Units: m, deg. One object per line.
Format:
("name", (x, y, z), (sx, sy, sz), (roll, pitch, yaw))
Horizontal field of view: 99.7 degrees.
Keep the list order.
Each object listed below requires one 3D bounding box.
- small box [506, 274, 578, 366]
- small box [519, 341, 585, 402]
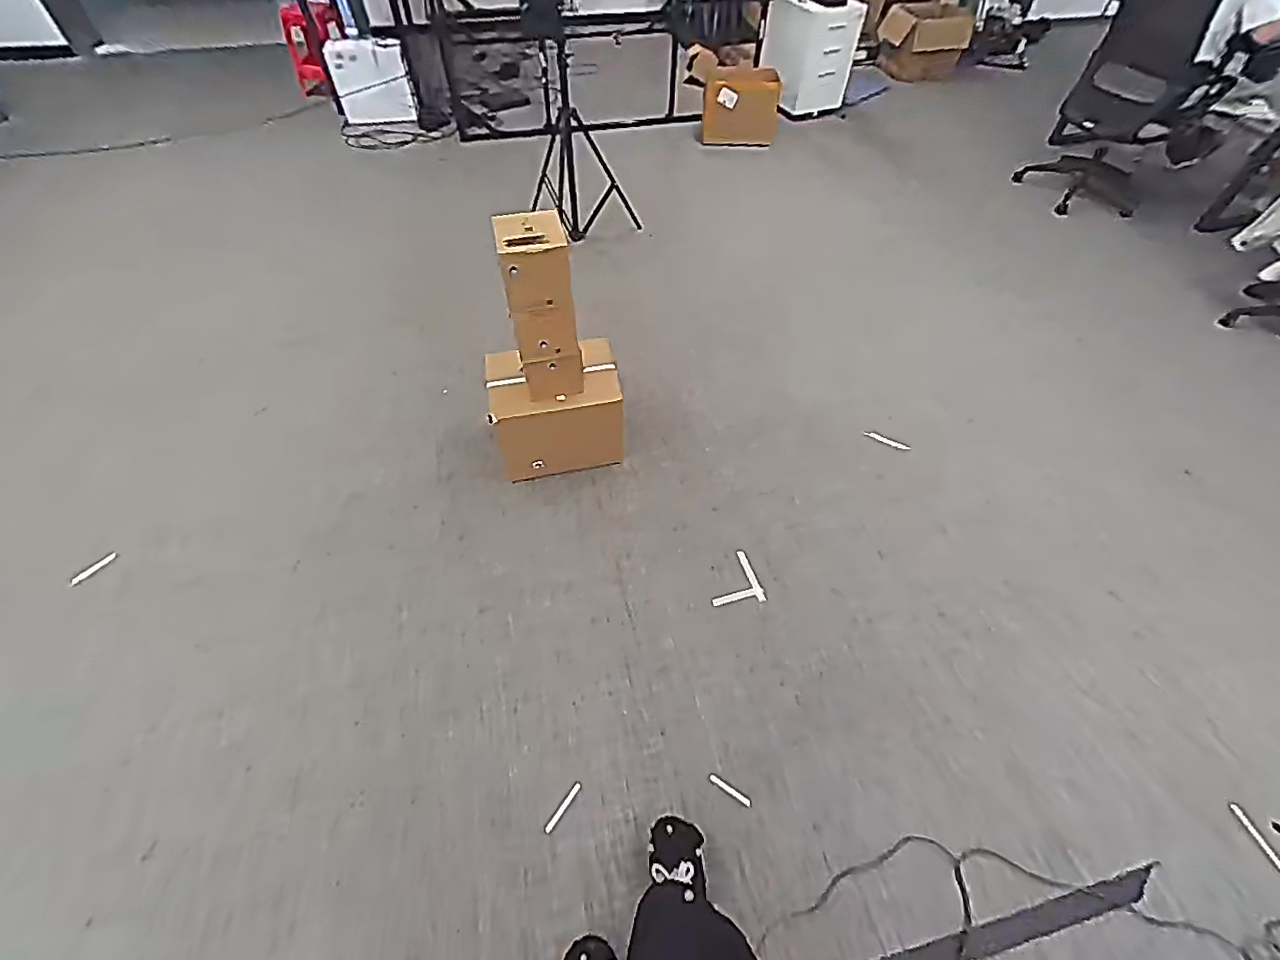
("small box", (-0.272, -0.447, 1.513), (0.168, 0.176, 0.179), (-12, 55, -9))
("small box", (-0.272, -0.356, 1.648), (0.179, 0.176, 0.168), (-12, 55, -11))
